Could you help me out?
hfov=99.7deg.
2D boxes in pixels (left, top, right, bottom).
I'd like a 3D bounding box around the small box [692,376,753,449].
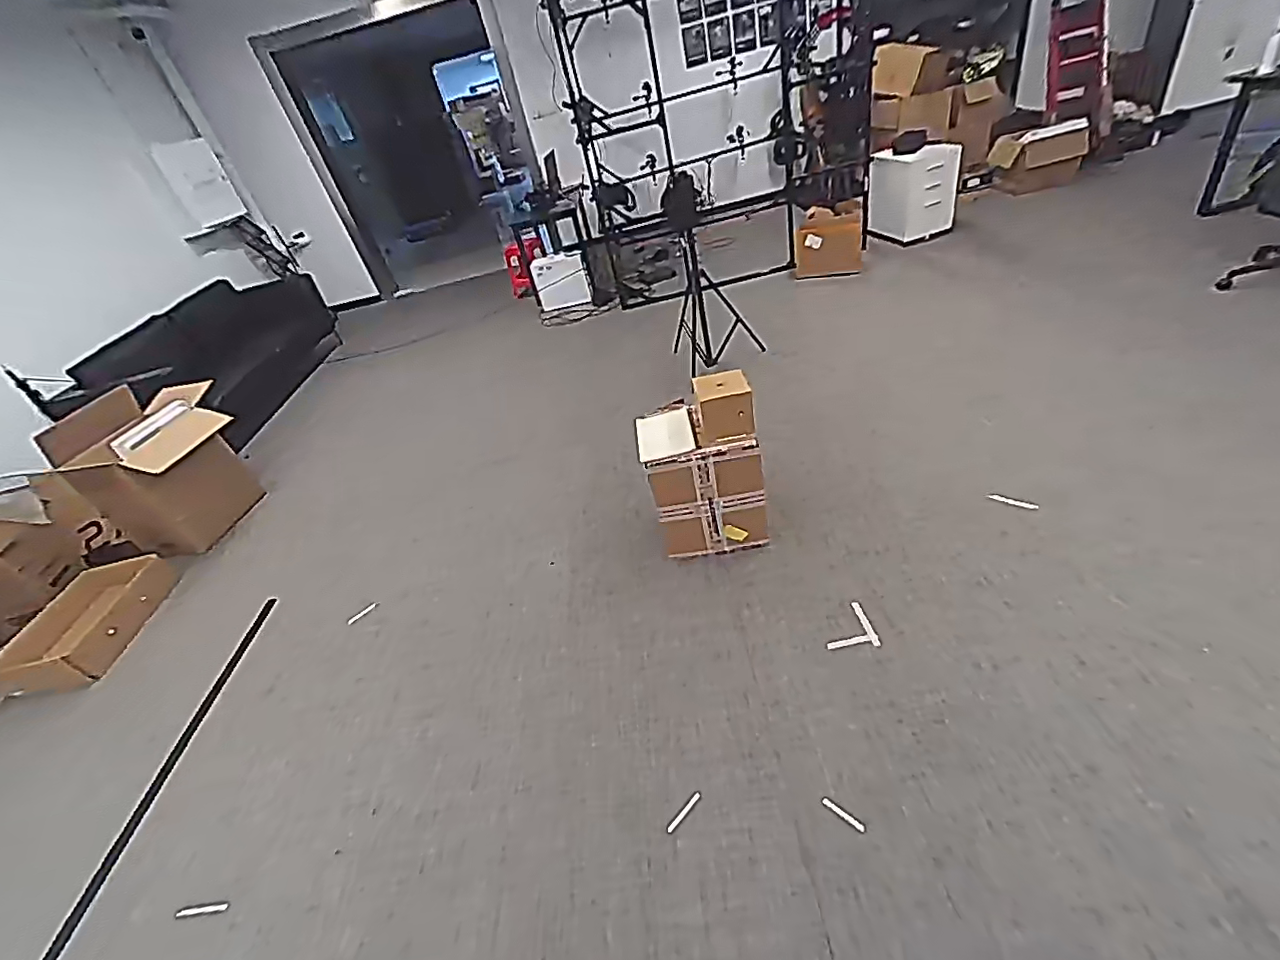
[{"bbox_3d":[0.283,-0.228,1.850,0.179,0.176,0.168,-12,38,3],"label":"small box"}]
